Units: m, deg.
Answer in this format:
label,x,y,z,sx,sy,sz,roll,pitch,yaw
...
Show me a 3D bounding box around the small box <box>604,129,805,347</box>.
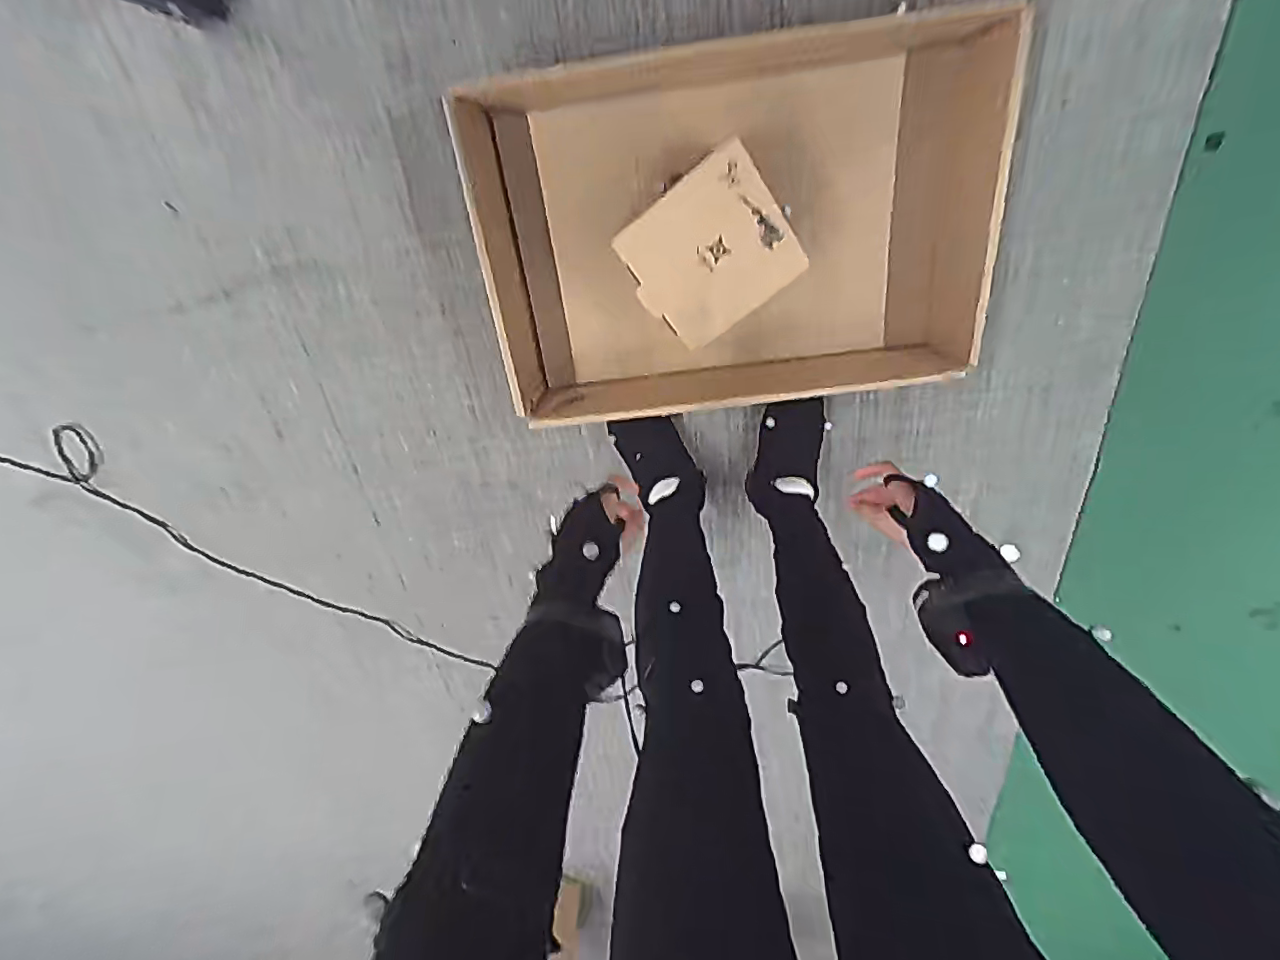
label,x,y,z,sx,sy,sz,roll,pitch,yaw
small box,0.077,-0.301,0.686,0.179,0.176,0.168,-34,112,17
